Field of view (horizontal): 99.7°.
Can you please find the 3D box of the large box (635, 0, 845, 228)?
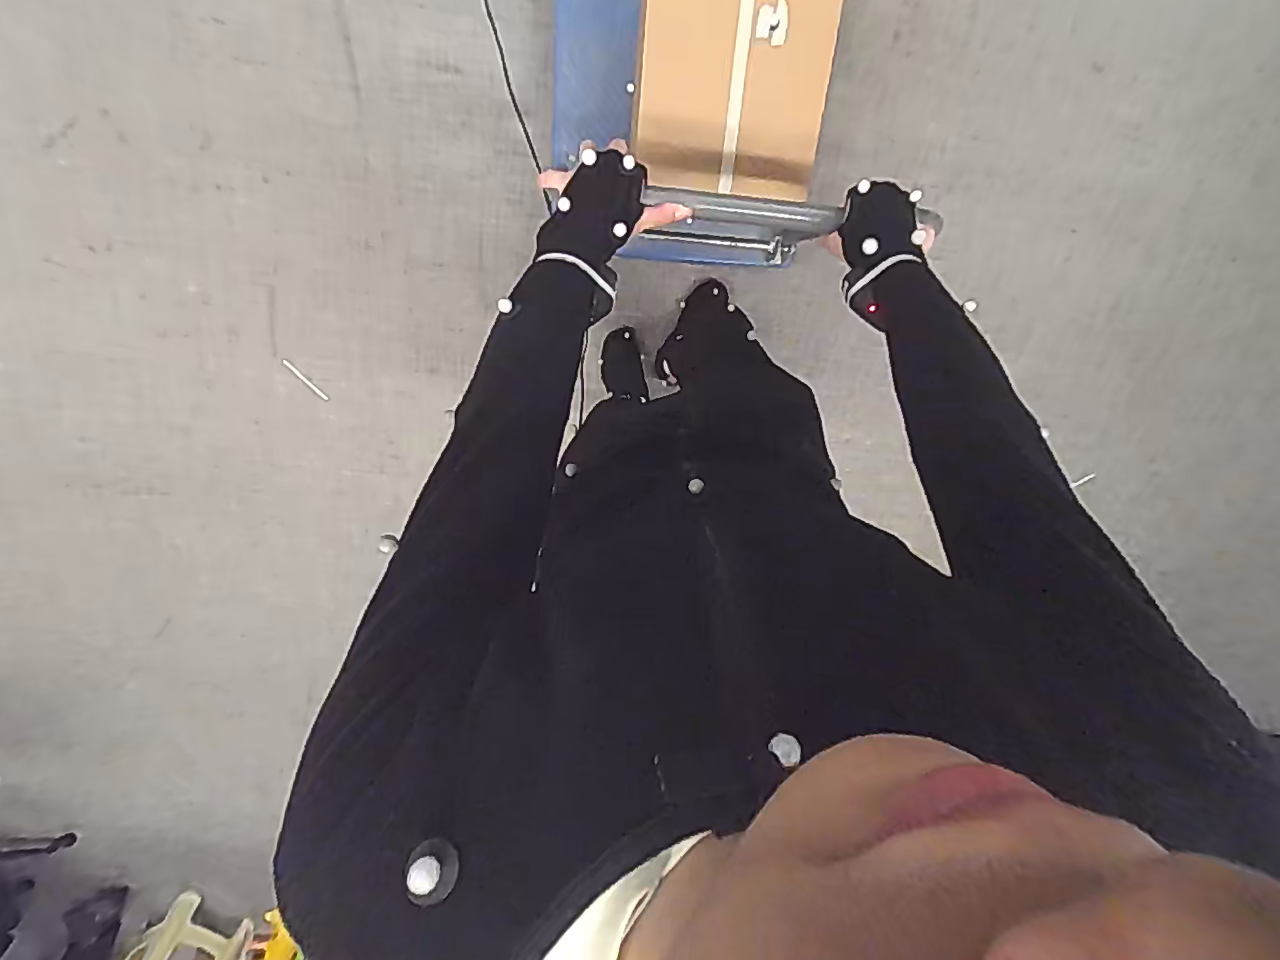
[{"bbox_3d":[0.156,-0.712,1.019,0.320,0.320,0.408,3,111,-5],"label":"large box"}]
